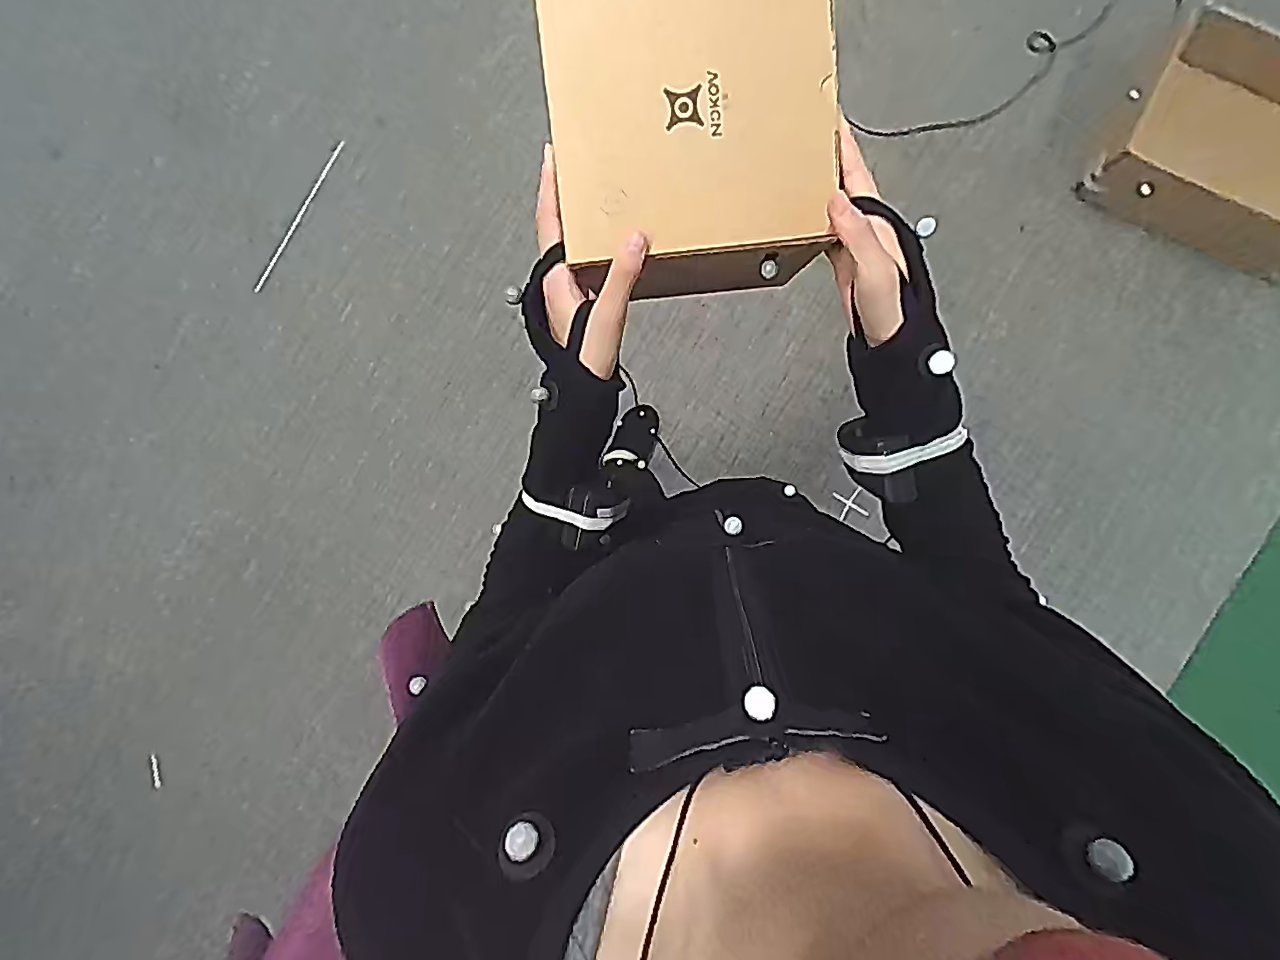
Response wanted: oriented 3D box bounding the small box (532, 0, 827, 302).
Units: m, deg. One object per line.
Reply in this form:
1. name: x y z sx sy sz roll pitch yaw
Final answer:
1. small box: 0.030 -0.238 0.412 0.179 0.176 0.168 -4 99 3
